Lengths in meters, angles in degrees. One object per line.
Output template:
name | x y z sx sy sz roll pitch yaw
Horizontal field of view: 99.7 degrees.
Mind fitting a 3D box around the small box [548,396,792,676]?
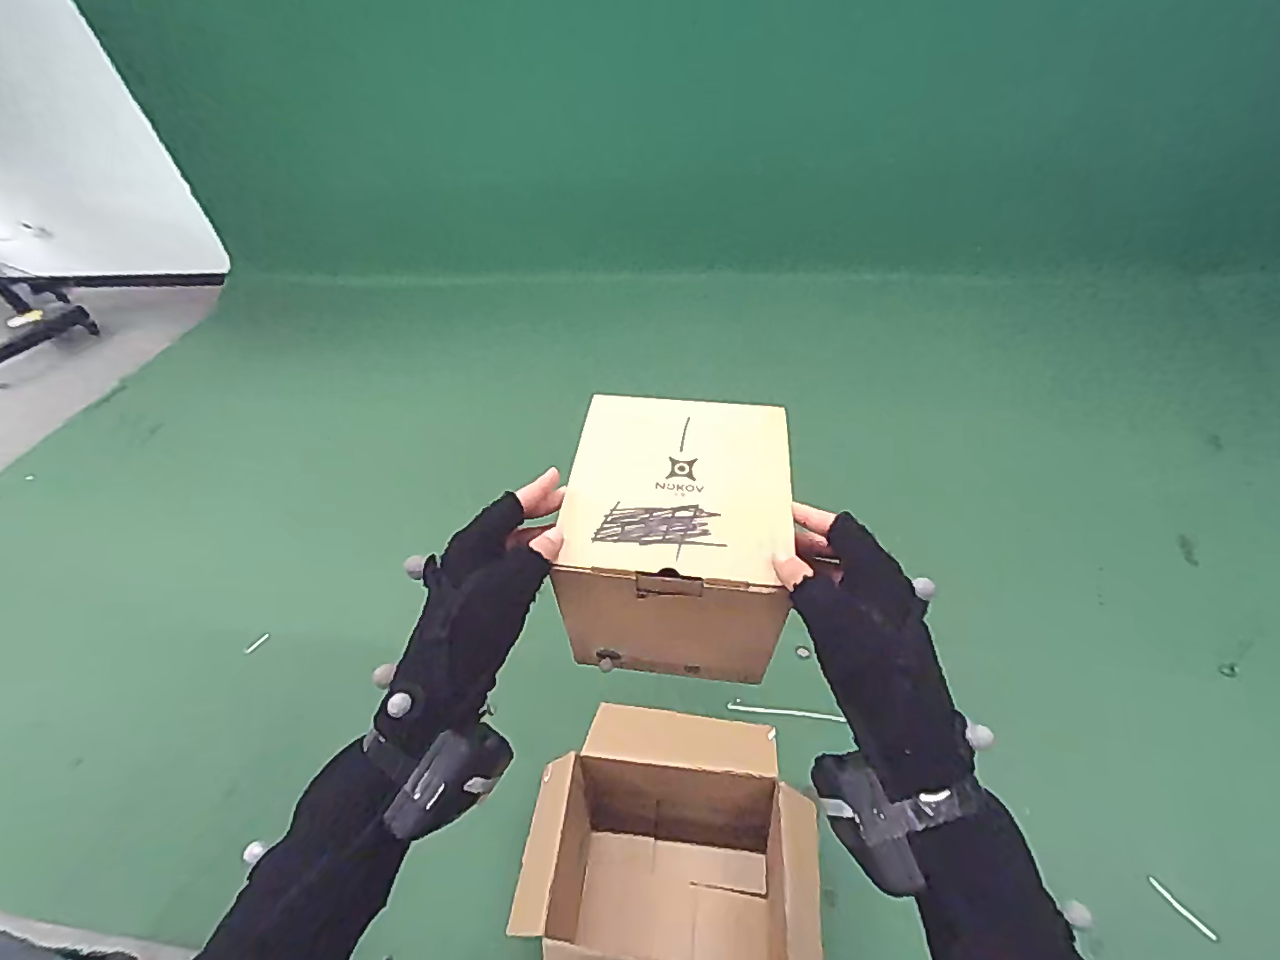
small box | 0.031 0.051 0.467 0.168 0.176 0.179 5 49 5
